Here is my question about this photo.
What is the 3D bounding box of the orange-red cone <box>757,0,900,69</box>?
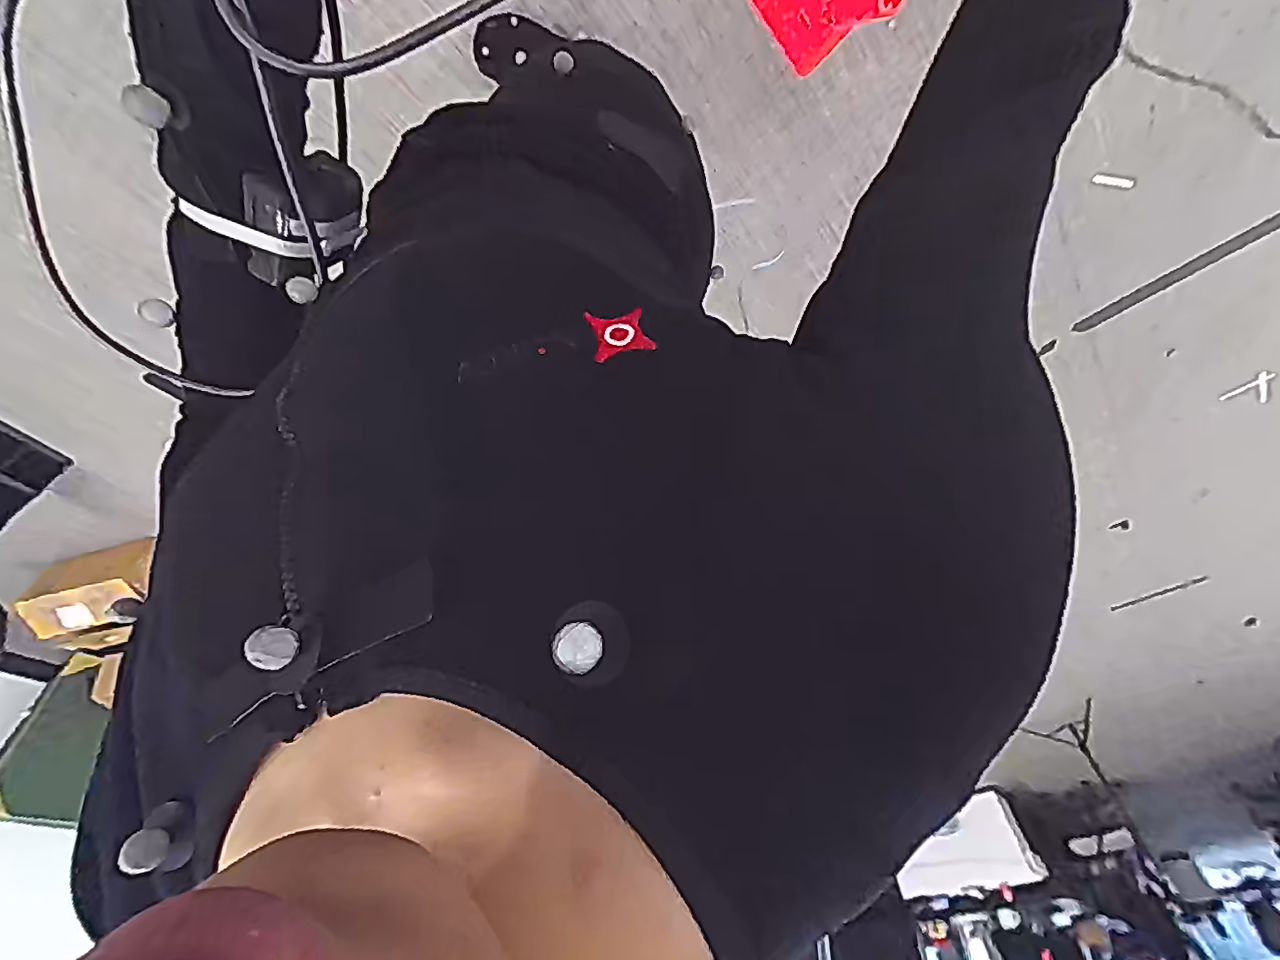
[{"bbox_3d":[0.337,-0.787,0.864,0.199,0.360,0.198,-36,125,28],"label":"orange-red cone"}]
